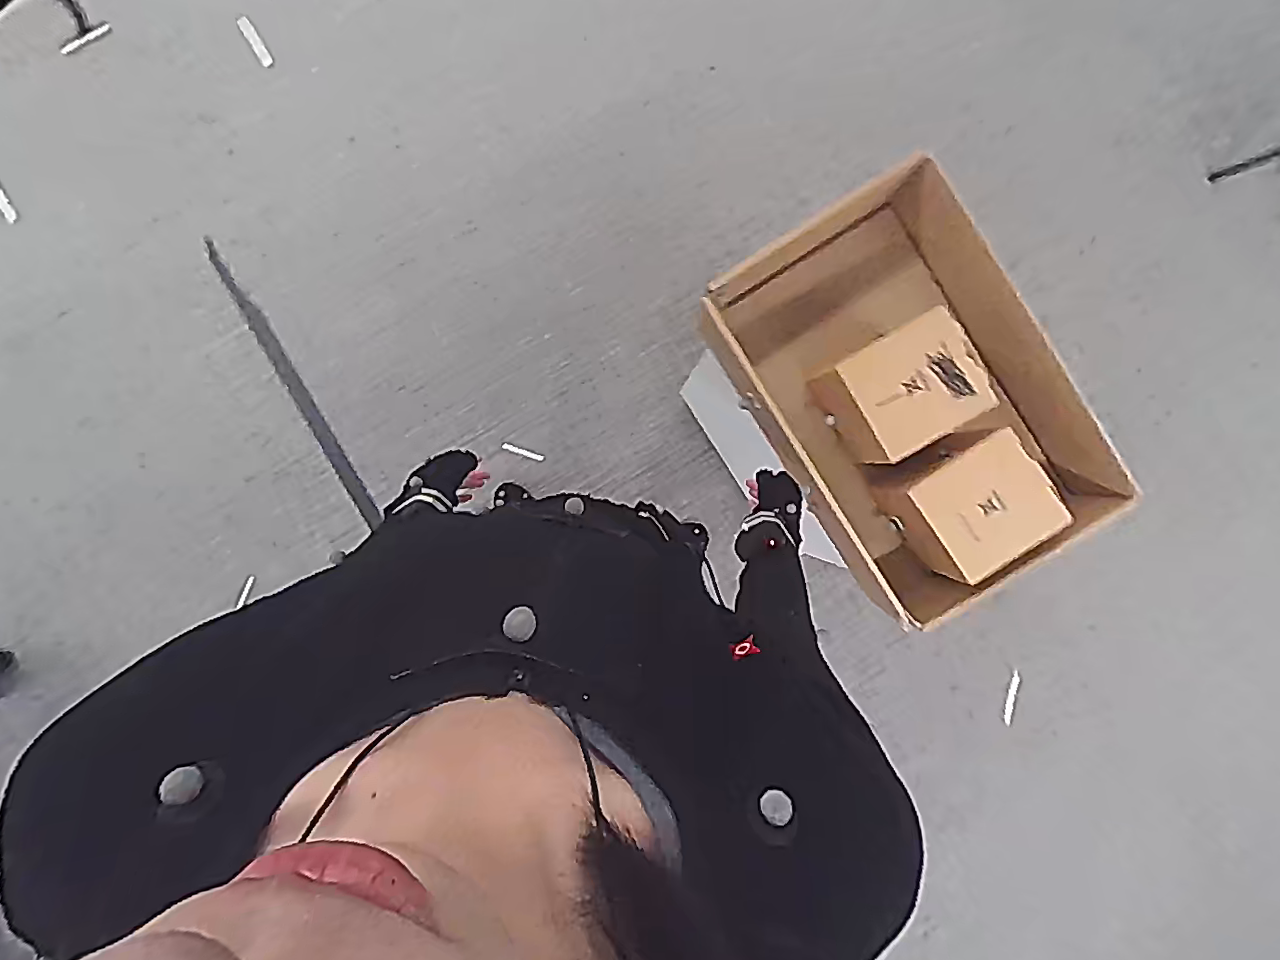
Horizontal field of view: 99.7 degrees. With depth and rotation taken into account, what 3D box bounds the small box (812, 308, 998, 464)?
[{"bbox_3d":[0.403,-0.138,0.854,0.179,0.176,0.168,-30,90,3],"label":"small box"}]
